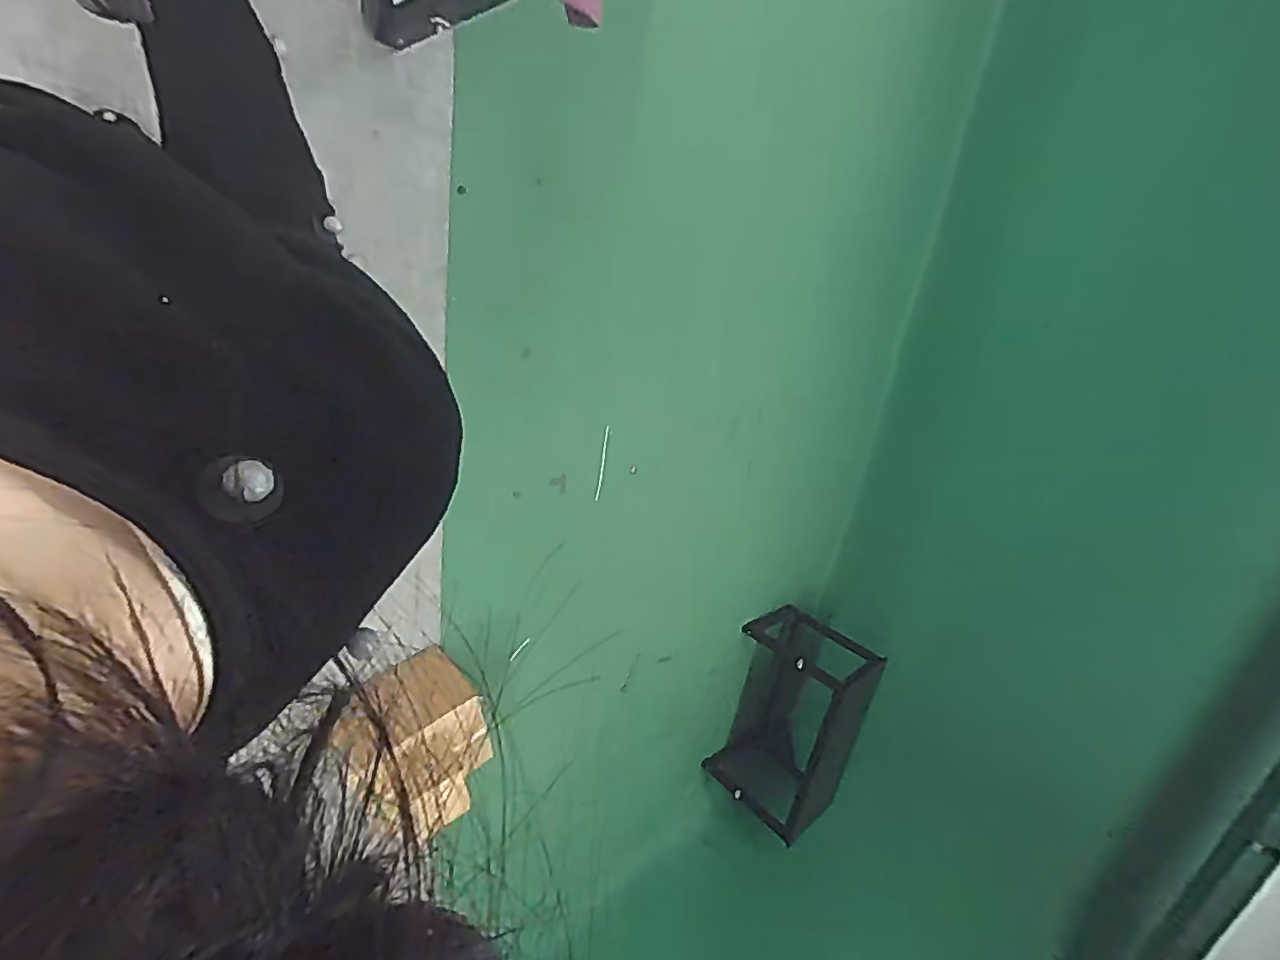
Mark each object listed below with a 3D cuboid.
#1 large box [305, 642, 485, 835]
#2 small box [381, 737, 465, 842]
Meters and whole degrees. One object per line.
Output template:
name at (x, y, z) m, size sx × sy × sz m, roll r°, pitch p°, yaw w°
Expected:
large box at (-0.778, 0.811, 1.750) m, size 0.408 × 0.320 × 0.320 m, roll -27°, pitch 129°, yaw -37°
small box at (-0.628, 0.878, 1.560) m, size 0.168 × 0.176 × 0.179 m, roll -19°, pitch 123°, yaw -38°
